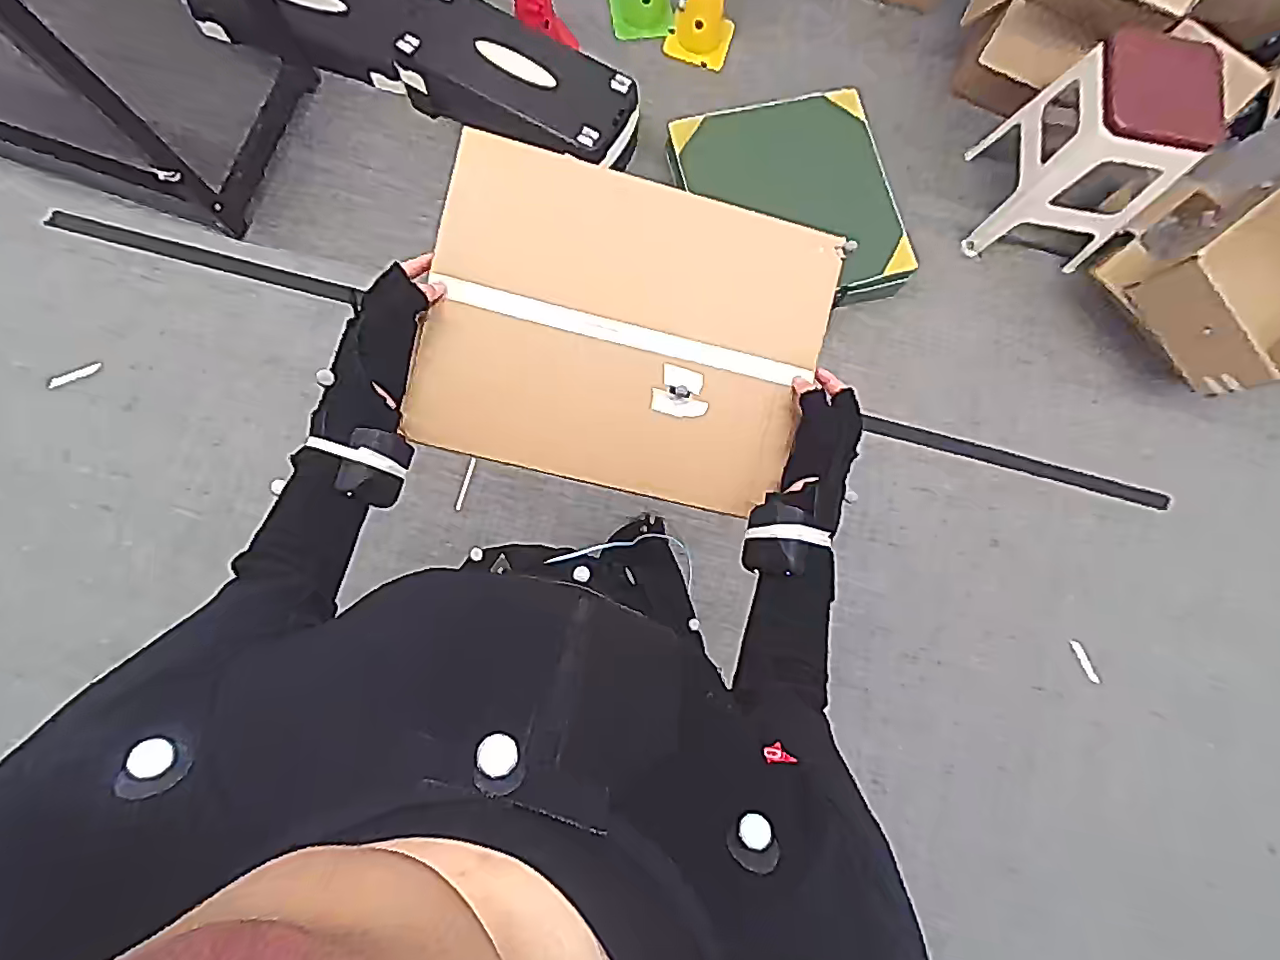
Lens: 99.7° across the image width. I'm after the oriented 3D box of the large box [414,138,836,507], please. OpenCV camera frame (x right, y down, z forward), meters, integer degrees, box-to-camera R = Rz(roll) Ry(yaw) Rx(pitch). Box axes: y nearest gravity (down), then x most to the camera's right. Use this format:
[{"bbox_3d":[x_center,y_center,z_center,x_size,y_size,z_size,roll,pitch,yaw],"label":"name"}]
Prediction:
[{"bbox_3d":[-0.026,-0.166,0.720,0.408,0.320,0.320,14,92,-7],"label":"large box"}]
